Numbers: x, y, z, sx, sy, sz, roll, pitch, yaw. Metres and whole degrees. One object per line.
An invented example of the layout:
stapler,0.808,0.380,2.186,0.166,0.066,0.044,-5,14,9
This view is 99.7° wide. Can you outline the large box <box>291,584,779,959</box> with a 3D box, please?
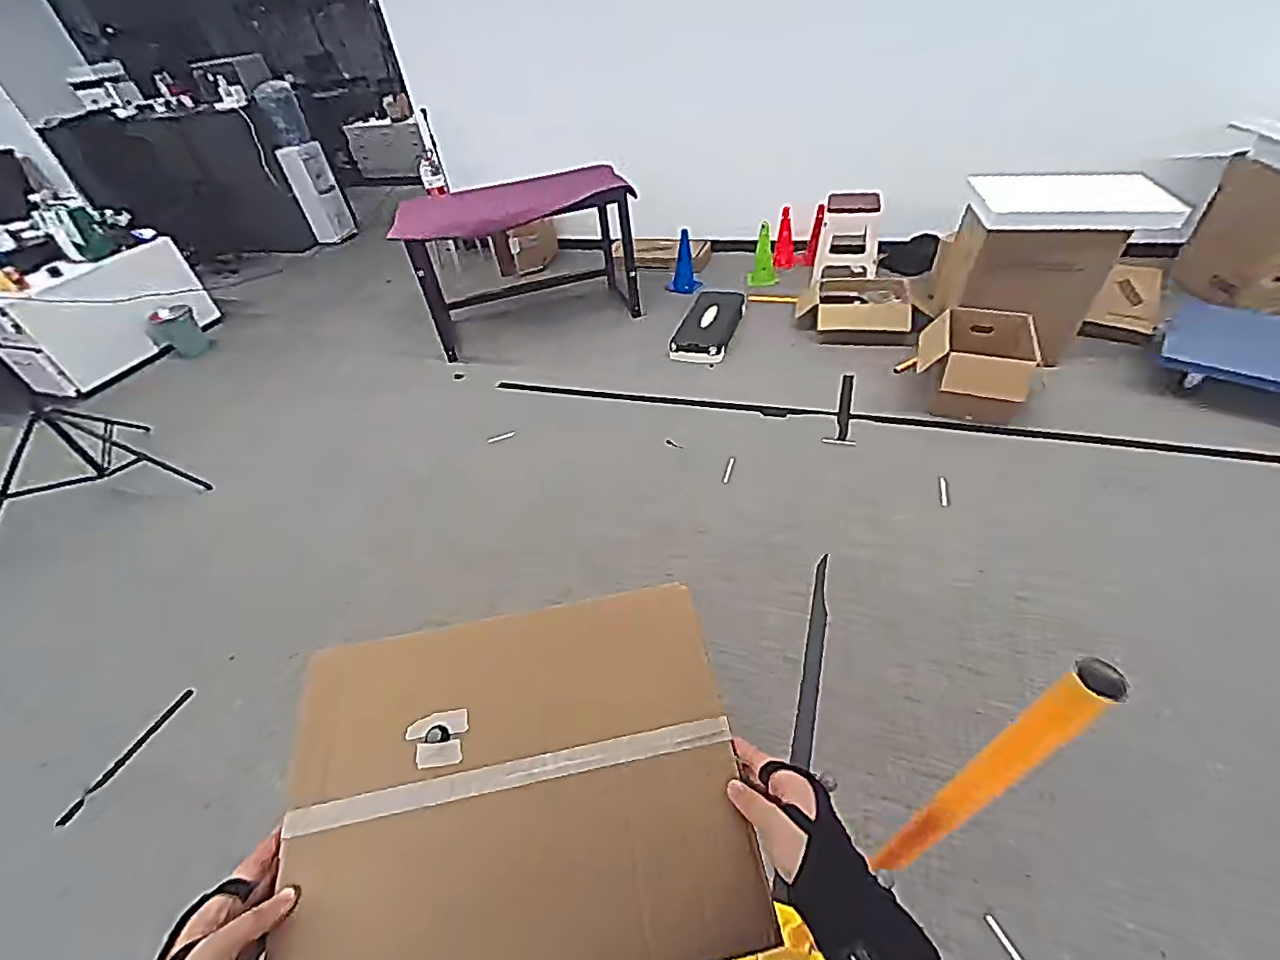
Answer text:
large box,-0.099,0.362,0.628,0.408,0.320,0.320,-12,54,-4
